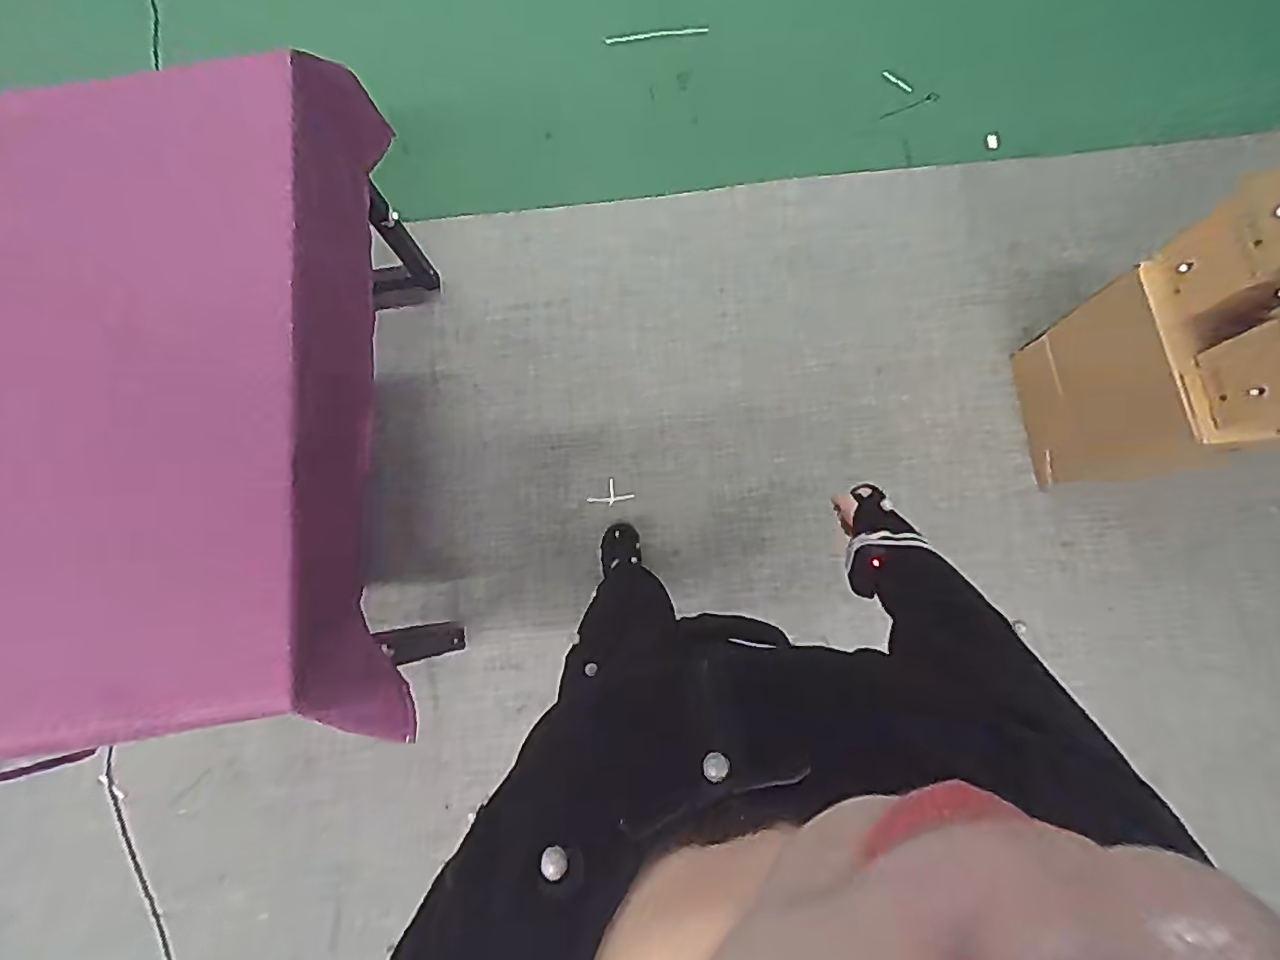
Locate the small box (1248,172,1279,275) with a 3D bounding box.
[{"bbox_3d":[1.173,-0.456,0.886,0.179,0.176,0.168,-4,79,4],"label":"small box"}]

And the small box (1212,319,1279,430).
[{"bbox_3d":[1.220,-0.194,0.993,0.179,0.176,0.168,-2,77,2],"label":"small box"}]

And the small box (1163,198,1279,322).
[{"bbox_3d":[1.189,-0.424,1.046,0.179,0.176,0.168,-5,79,3],"label":"small box"}]
